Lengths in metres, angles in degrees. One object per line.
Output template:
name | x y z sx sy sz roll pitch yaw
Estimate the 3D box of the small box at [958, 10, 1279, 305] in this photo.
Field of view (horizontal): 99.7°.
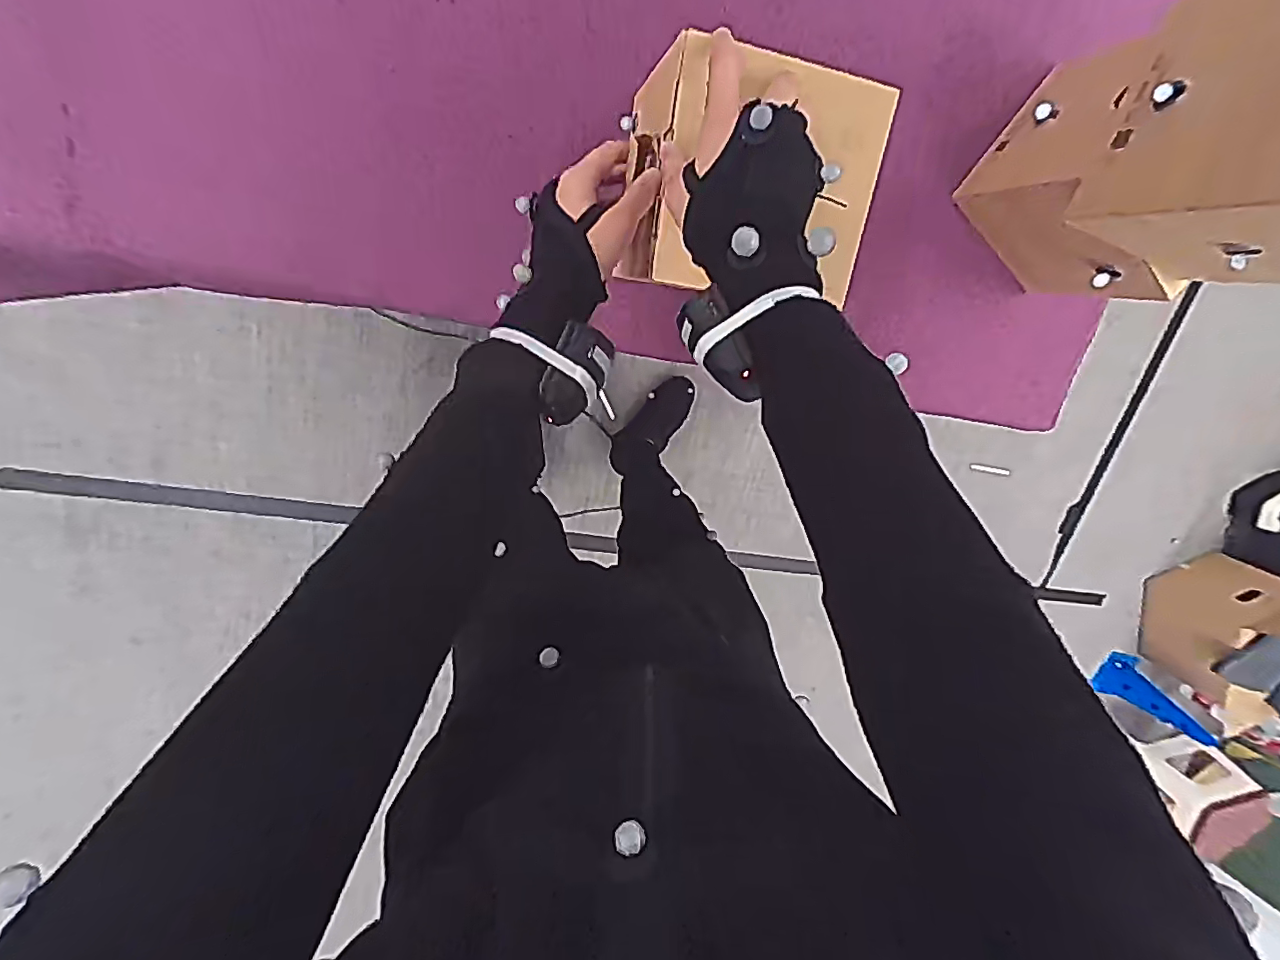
small box | 0.484 -0.309 0.557 0.179 0.176 0.168 34 101 -23
